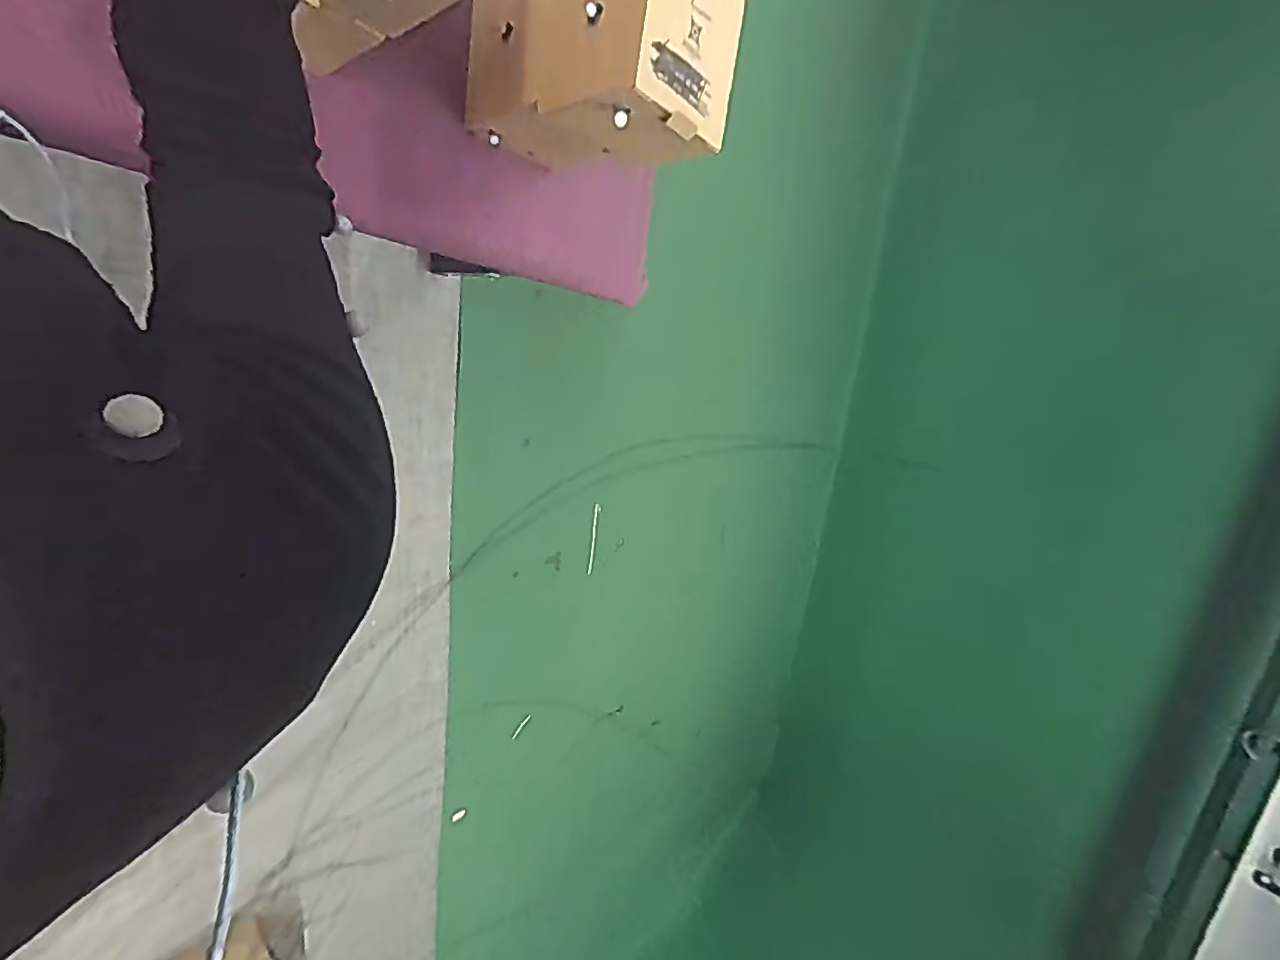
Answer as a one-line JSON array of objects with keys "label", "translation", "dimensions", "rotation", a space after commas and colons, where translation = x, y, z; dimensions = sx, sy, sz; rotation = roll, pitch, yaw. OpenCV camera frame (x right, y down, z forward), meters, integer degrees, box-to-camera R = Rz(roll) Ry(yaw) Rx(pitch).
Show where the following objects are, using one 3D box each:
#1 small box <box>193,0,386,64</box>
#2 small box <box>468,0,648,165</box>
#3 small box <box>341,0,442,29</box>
[{"label": "small box", "translation": [-0.344, -0.530, 0.498], "dimensions": [0.168, 0.176, 0.179], "rotation": [-3, 107, -50]}, {"label": "small box", "translation": [-0.117, -0.565, 0.753], "dimensions": [0.168, 0.176, 0.179], "rotation": [-2, 107, -52]}, {"label": "small box", "translation": [-0.217, -0.491, 0.402], "dimensions": [0.168, 0.176, 0.179], "rotation": [-4, 107, -50]}]
